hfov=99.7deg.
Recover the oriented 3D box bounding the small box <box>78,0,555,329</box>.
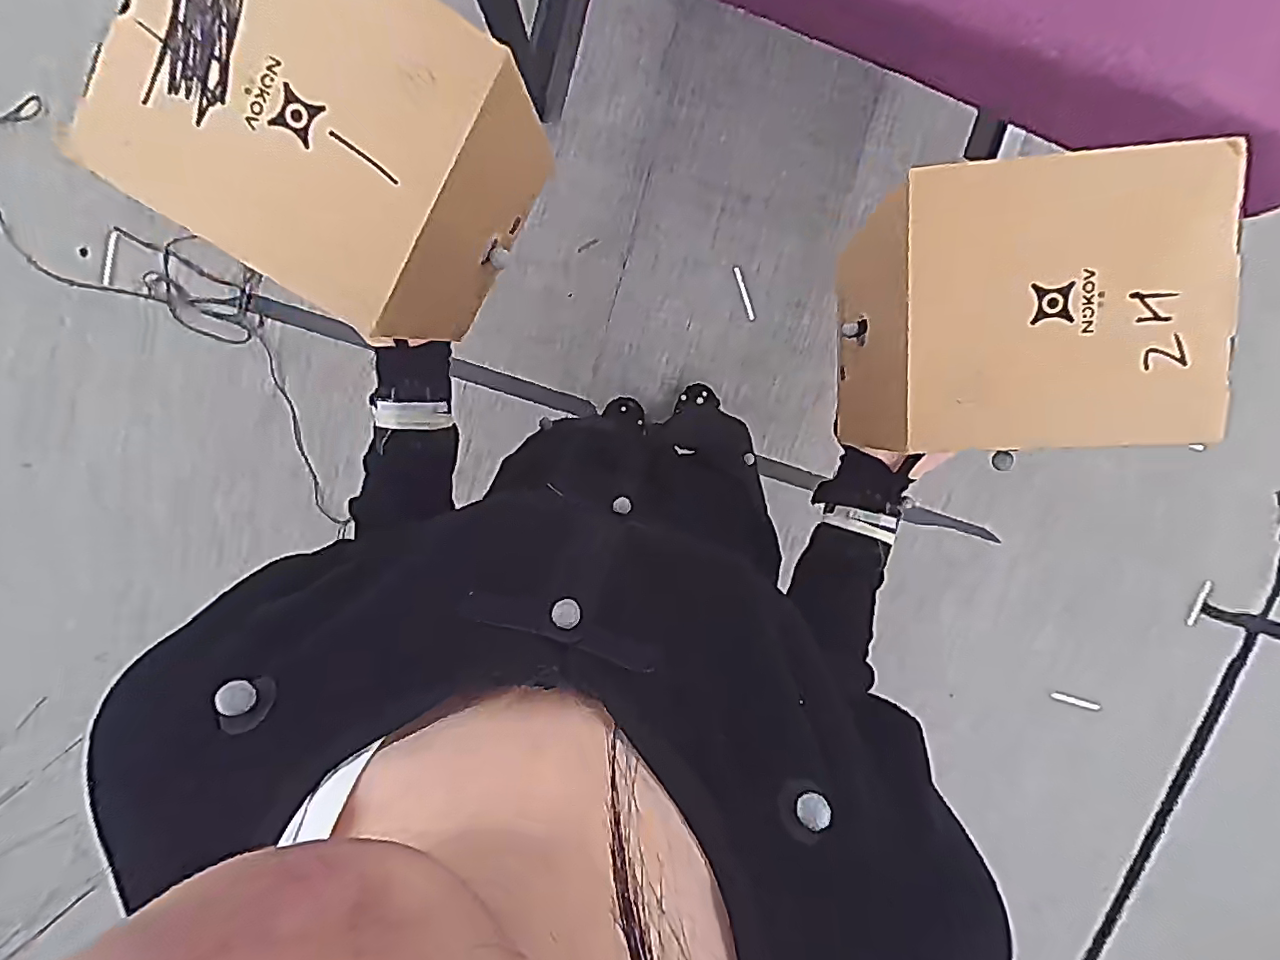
[{"bbox_3d":[-0.176,-0.210,0.352,0.179,0.176,0.168,31,102,-8],"label":"small box"}]

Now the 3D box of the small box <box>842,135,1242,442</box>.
[{"bbox_3d":[0.252,-0.112,0.389,0.179,0.176,0.168,-2,96,6],"label":"small box"}]
